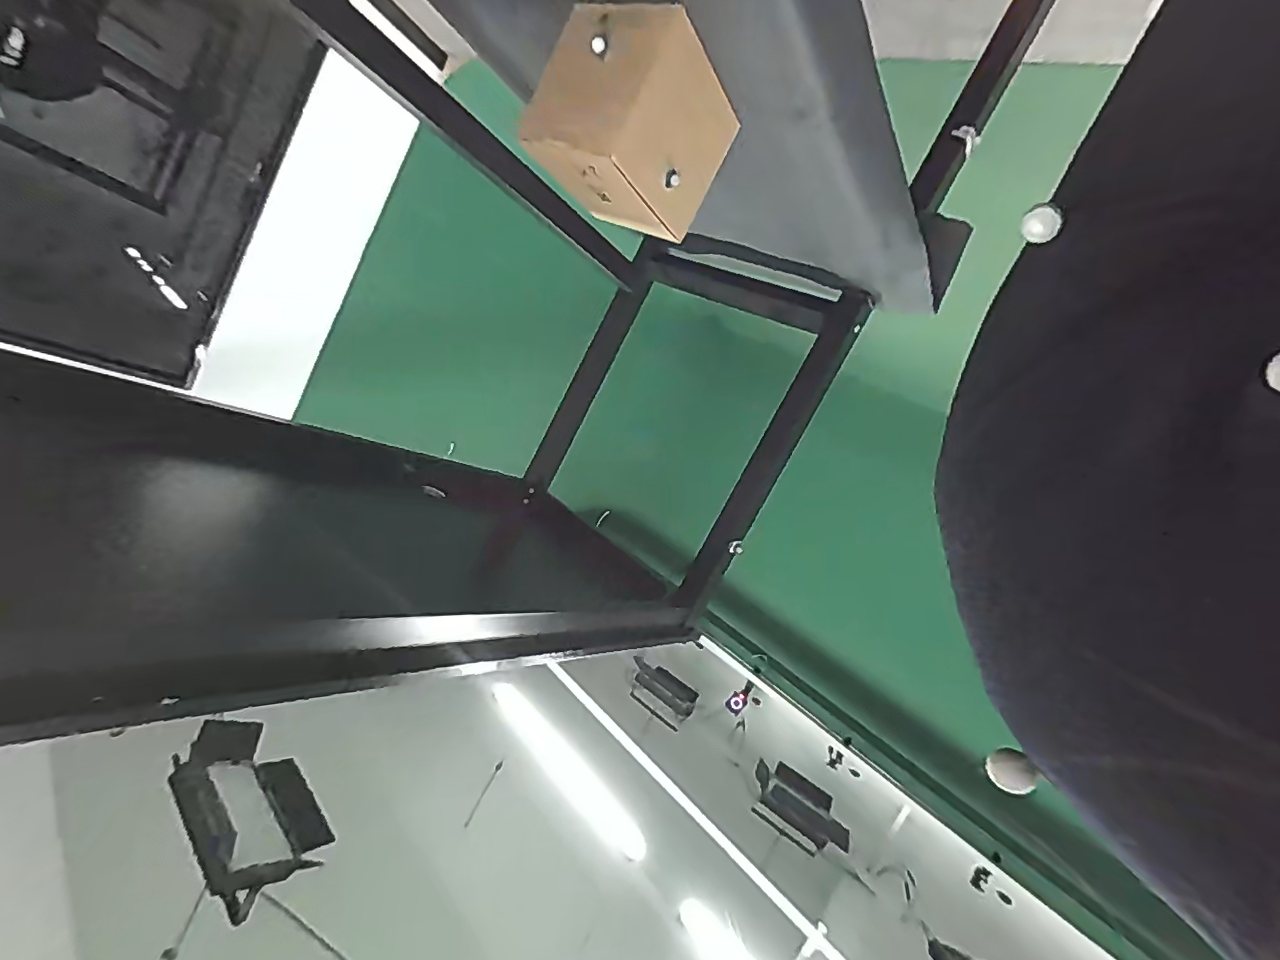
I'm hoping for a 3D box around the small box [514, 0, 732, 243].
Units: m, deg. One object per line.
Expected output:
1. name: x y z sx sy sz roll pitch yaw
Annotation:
1. small box: -0.012 -0.432 0.667 0.168 0.176 0.179 32 -173 31
